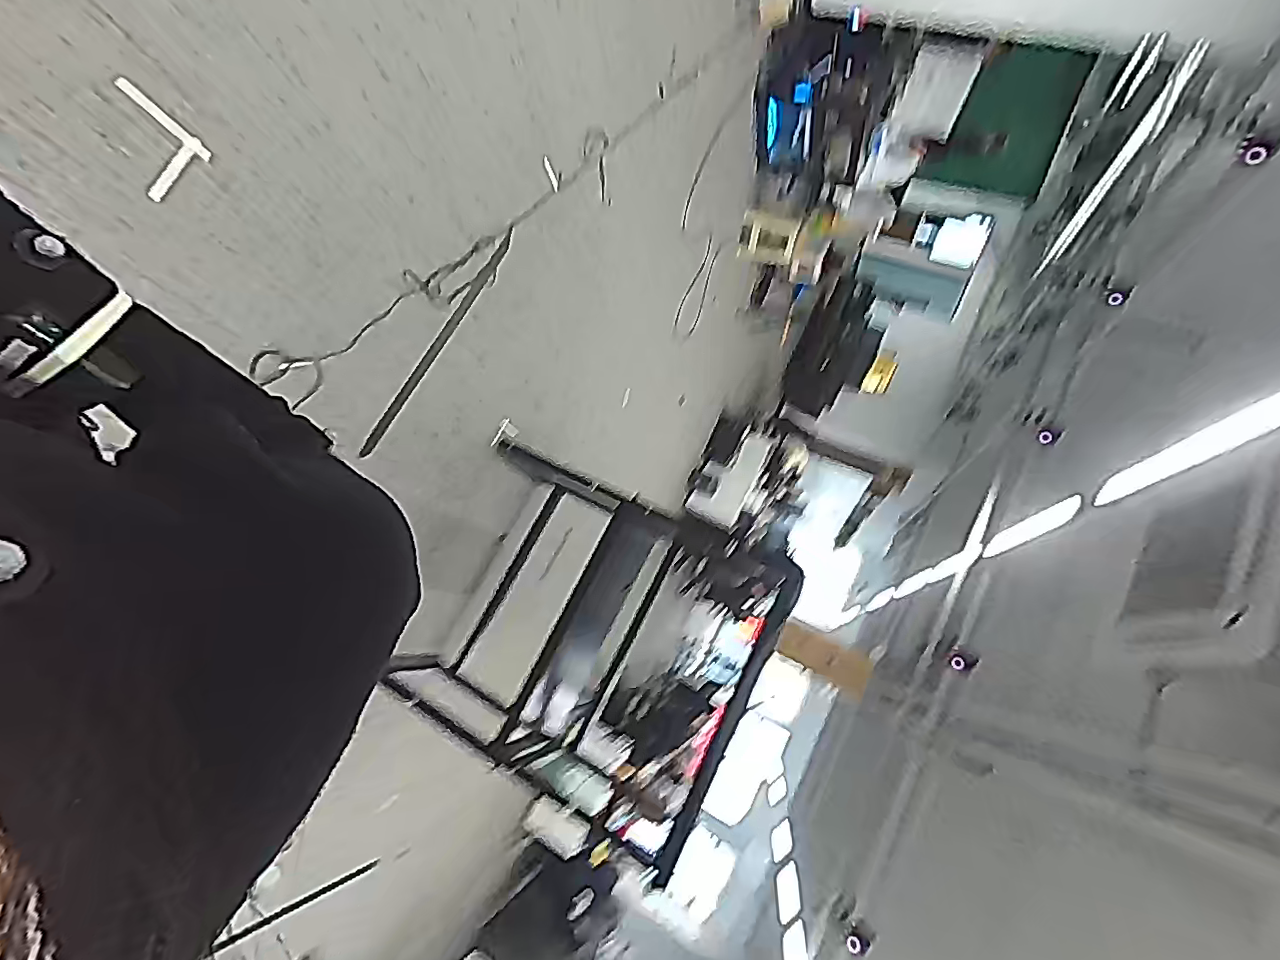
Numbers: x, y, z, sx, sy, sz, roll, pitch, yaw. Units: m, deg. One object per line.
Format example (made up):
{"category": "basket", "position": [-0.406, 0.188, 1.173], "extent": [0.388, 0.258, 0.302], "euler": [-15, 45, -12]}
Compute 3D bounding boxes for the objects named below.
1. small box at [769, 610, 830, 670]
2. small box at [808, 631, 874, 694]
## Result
{"category": "small box", "position": [0.606, 0.612, 2.073], "extent": [0.168, 0.176, 0.179], "euler": [-62, 163, -10]}
{"category": "small box", "position": [0.746, 0.681, 2.026], "extent": [0.168, 0.176, 0.179], "euler": [-63, 163, -12]}
